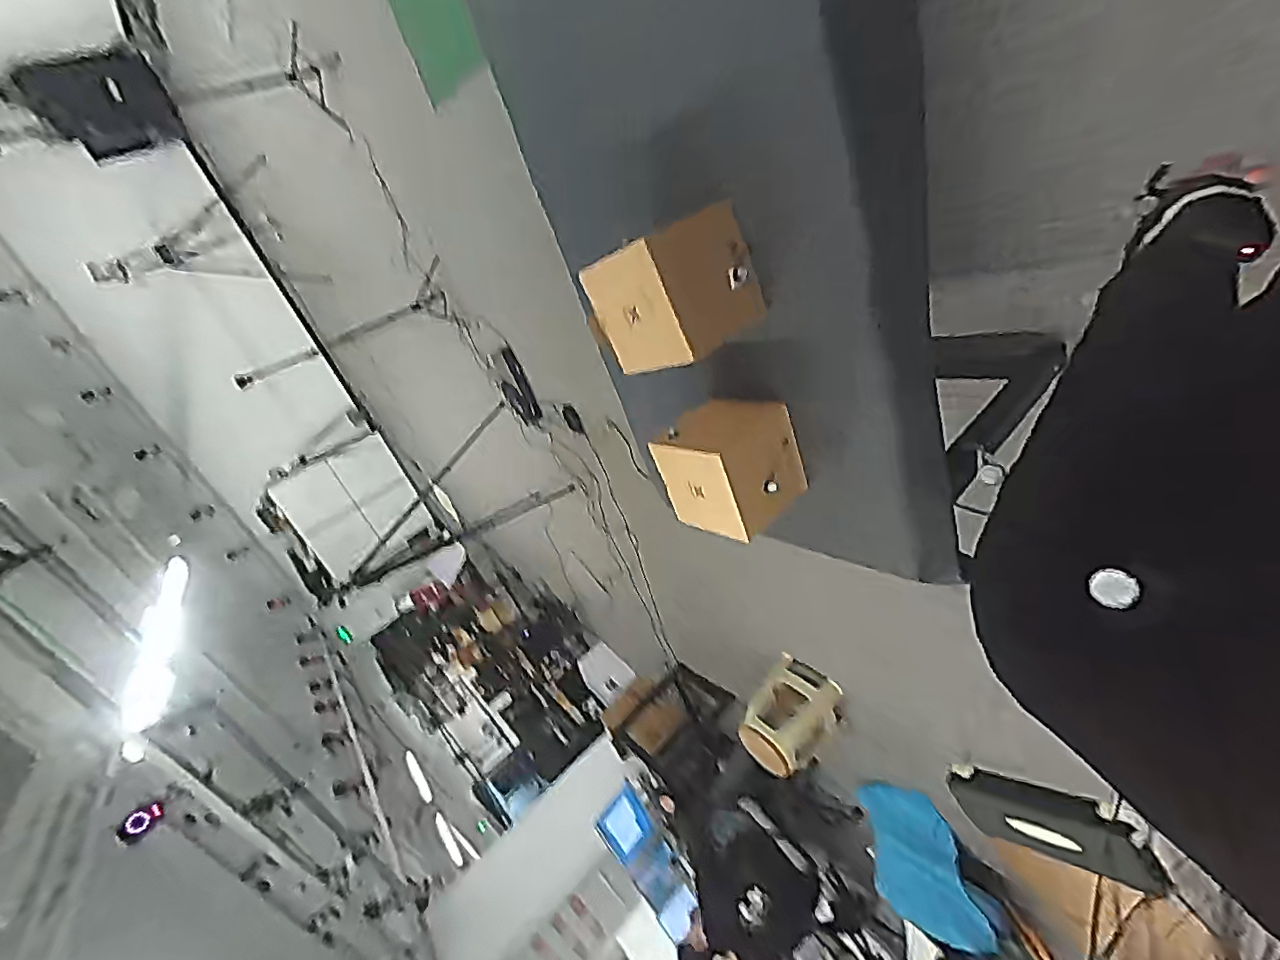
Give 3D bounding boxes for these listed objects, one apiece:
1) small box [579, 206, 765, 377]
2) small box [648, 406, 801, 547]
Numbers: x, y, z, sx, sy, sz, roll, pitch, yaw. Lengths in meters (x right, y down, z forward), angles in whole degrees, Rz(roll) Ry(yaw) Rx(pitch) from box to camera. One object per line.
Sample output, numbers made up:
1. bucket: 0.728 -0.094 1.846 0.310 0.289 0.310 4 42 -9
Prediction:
1. small box: 0.048 -0.267 0.786 0.179 0.176 0.168 4 126 56
2. small box: 0.149 -0.015 0.913 0.179 0.176 0.168 13 132 53
